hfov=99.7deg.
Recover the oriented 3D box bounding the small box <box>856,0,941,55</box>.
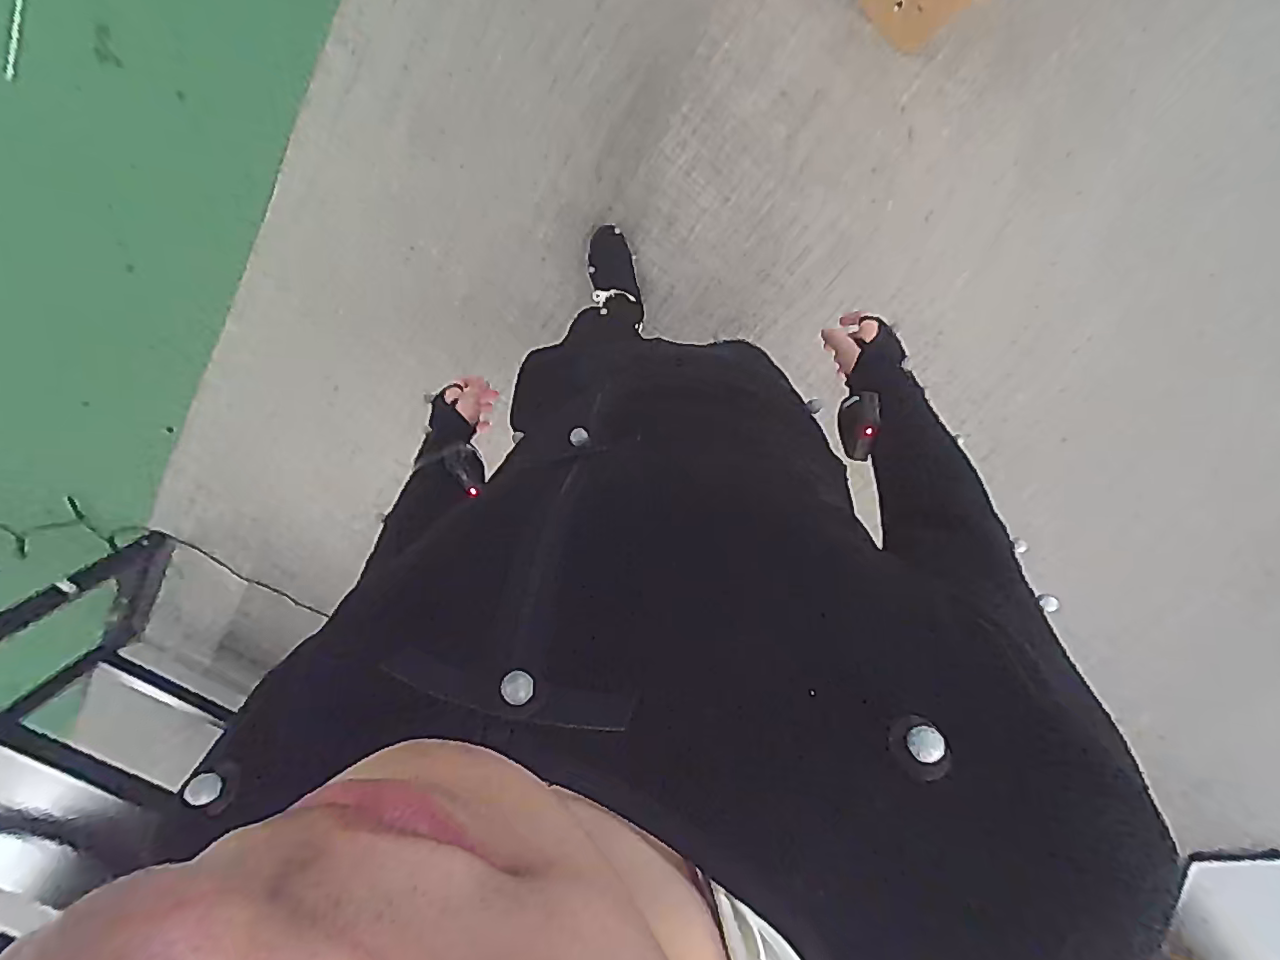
[{"bbox_3d":[0.586,-1.042,1.127,0.179,0.176,0.168,35,111,-10],"label":"small box"}]
